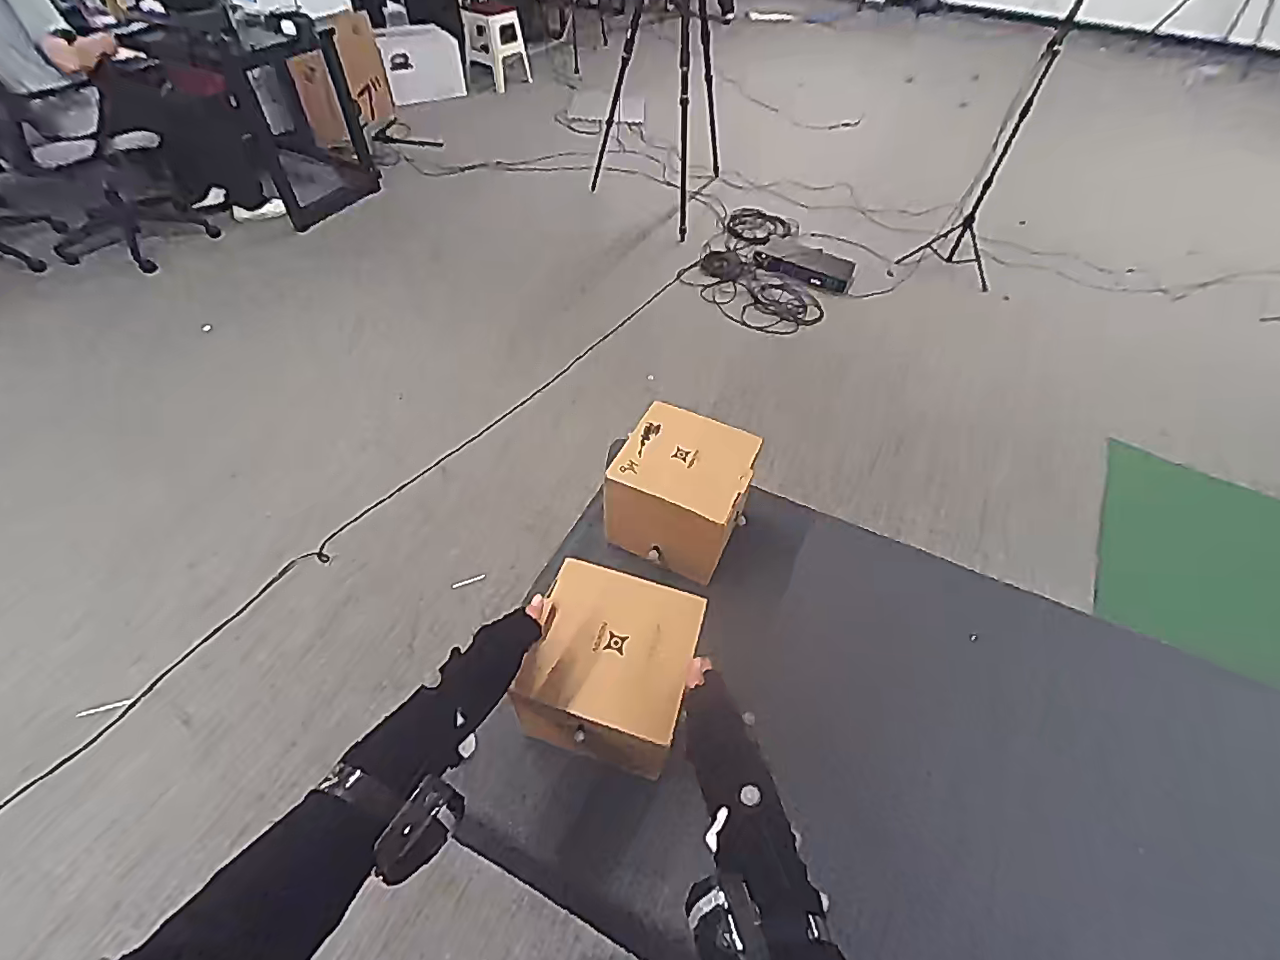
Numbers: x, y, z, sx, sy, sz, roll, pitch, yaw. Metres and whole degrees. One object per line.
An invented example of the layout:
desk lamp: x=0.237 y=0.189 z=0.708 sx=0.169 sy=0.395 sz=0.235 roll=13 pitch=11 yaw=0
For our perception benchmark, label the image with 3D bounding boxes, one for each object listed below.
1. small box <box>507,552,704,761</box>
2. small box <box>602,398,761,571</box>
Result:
small box: x=-0.038 y=0.217 z=0.650 sx=0.179 sy=0.176 sz=0.168 roll=16 pitch=53 yaw=7
small box: x=0.057 y=0.014 z=0.814 sx=0.179 sy=0.176 sz=0.168 roll=23 pitch=55 yaw=13
